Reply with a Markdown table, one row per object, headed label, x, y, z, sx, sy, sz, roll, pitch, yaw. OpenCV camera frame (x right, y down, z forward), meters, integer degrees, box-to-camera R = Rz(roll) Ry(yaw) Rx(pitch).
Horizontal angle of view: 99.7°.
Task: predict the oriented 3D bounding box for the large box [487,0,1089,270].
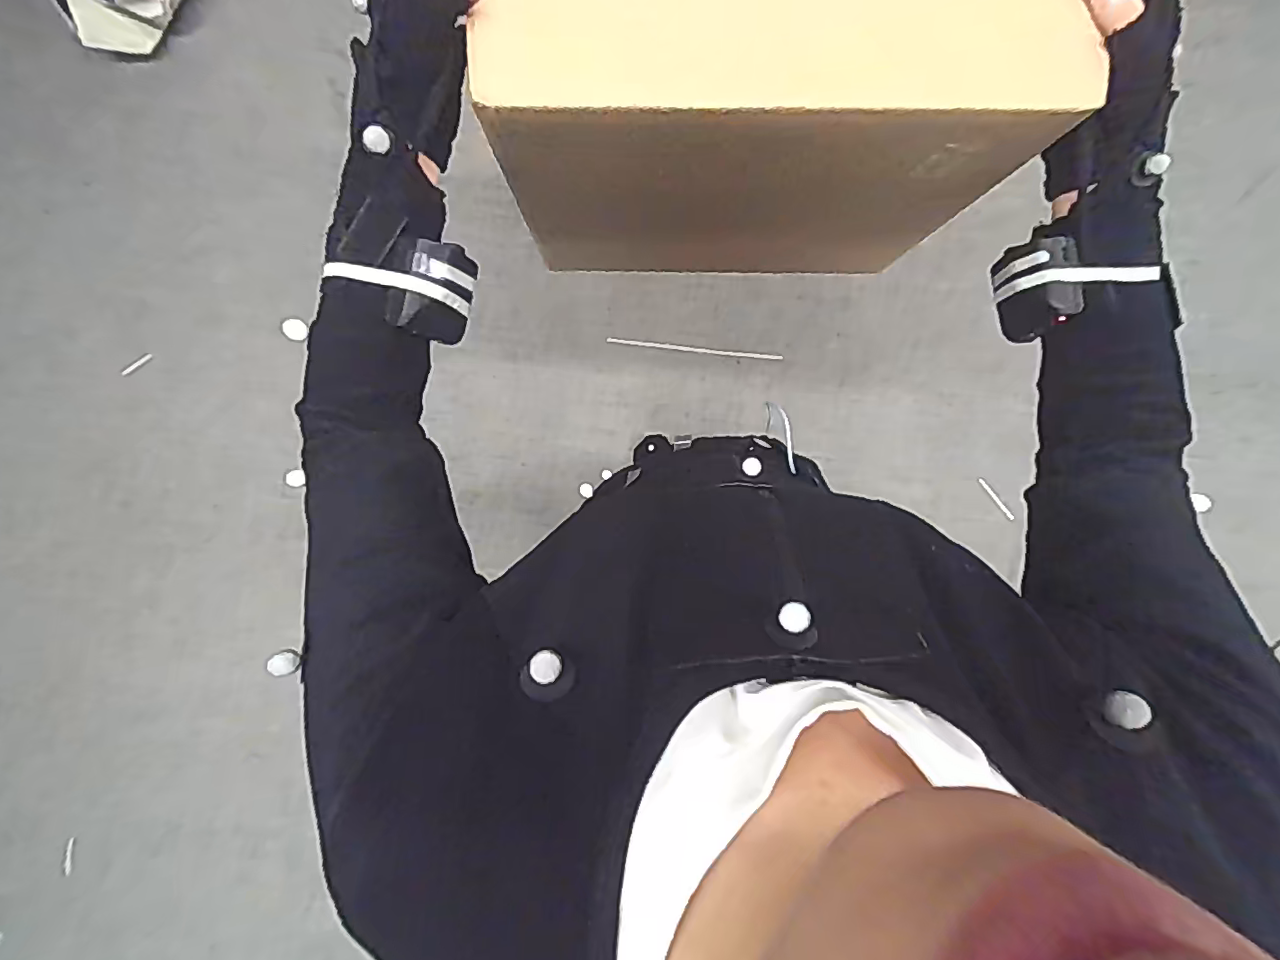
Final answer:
| label | x | y | z | sx | sy | sz | roll | pitch | yaw |
| --- | --- | --- | --- | --- | --- | --- | --- | --- | --- |
| large box | 0.091 | -0.403 | 0.498 | 0.408 | 0.320 | 0.320 | -1 | 93 | -2 |
